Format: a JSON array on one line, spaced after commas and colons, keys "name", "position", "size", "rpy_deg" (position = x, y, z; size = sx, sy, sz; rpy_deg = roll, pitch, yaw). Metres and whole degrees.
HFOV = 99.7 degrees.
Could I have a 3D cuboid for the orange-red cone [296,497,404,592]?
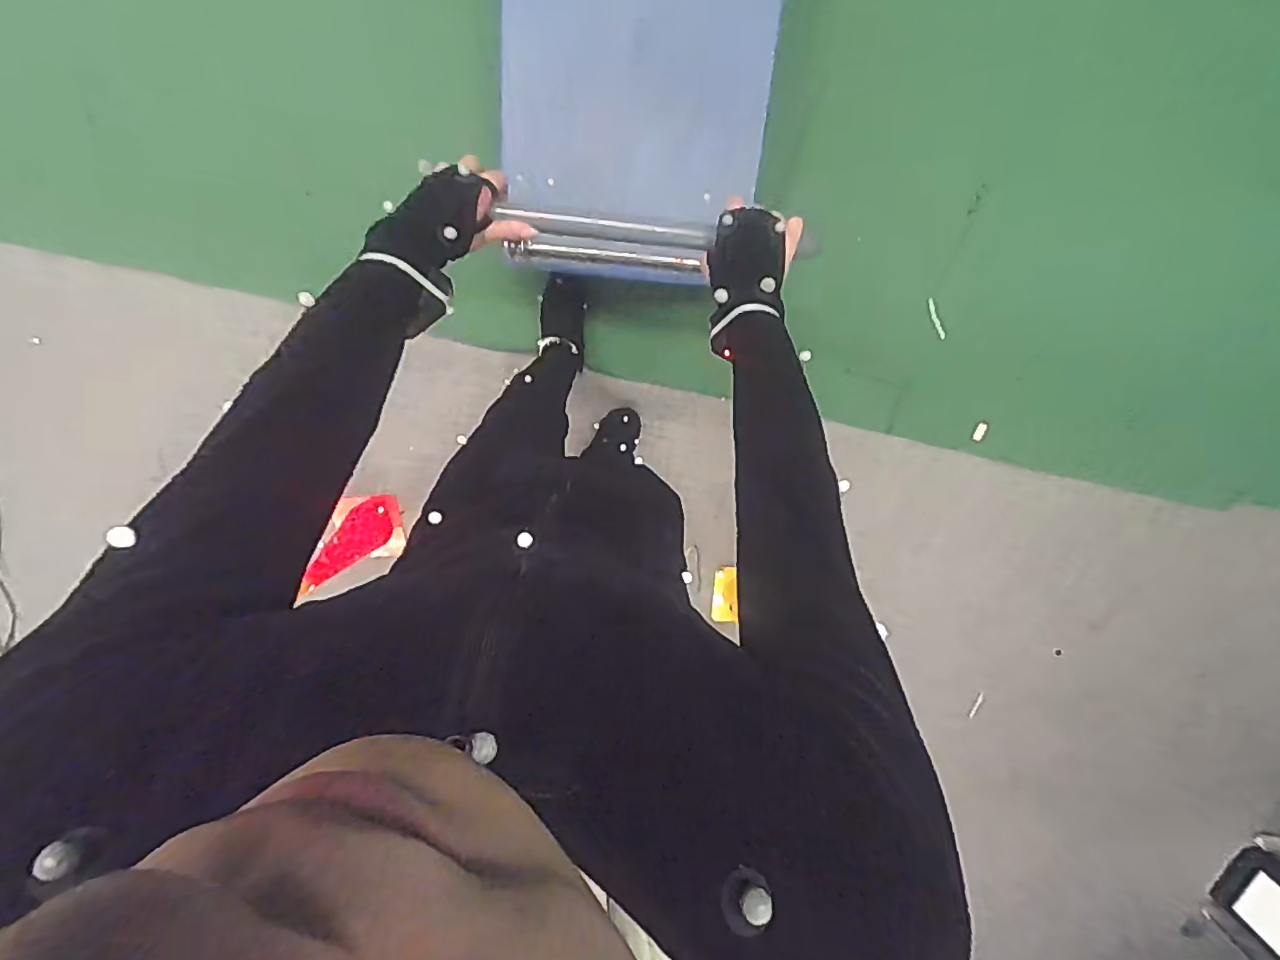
[{"name": "orange-red cone", "position": [-0.816, 0.199, 1.463], "size": [0.199, 0.360, 0.198], "rpy_deg": [-2, 109, 0]}]
